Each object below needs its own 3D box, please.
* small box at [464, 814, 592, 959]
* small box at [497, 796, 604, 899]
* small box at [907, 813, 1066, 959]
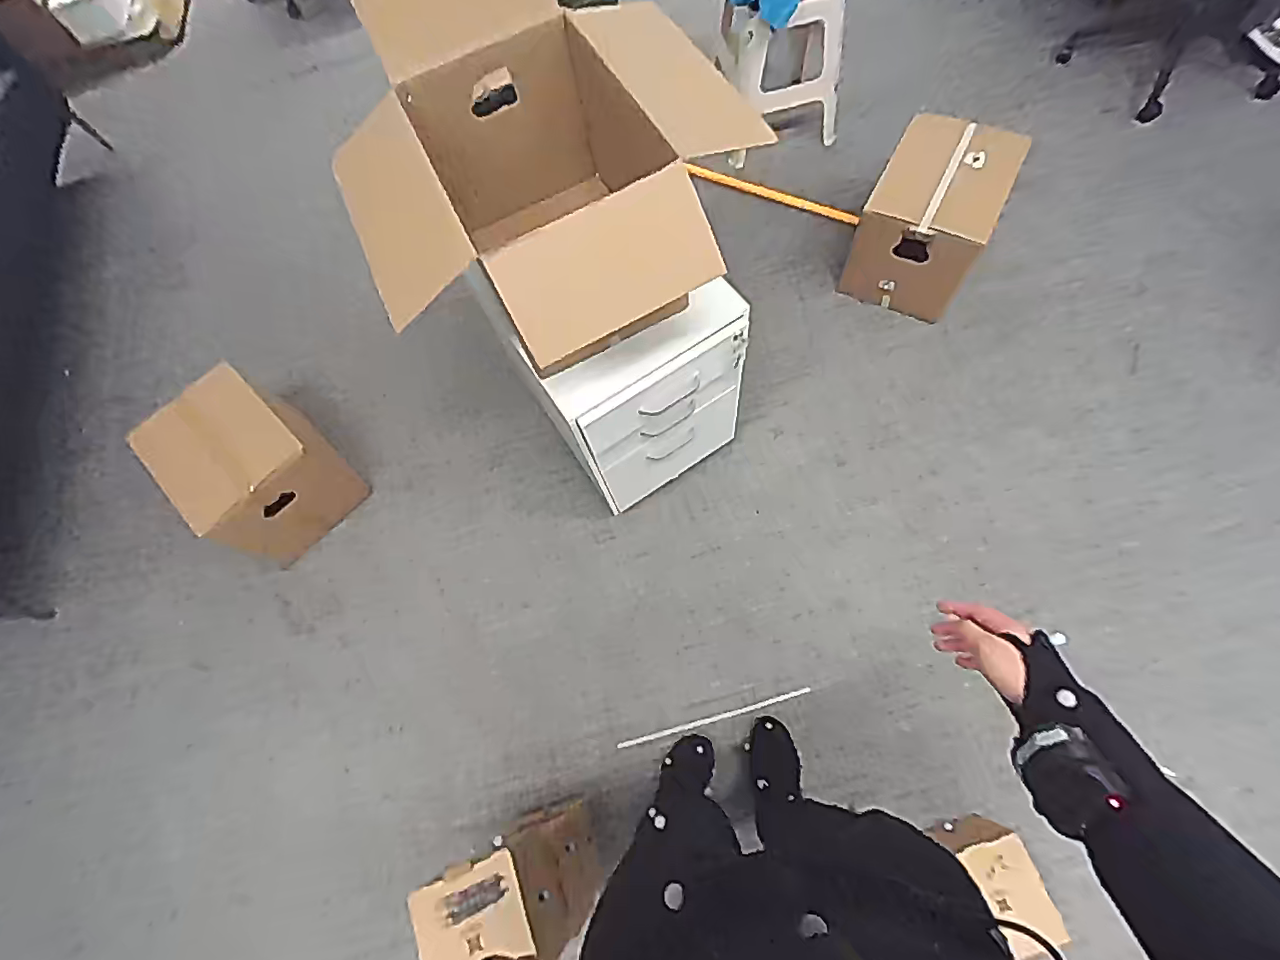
[{"bbox_3d":[-0.200,0.755,1.012,0.179,0.176,0.168,-22,66,0],"label":"small box"},{"bbox_3d":[-0.184,0.805,1.167,0.179,0.176,0.168,-18,67,0],"label":"small box"},{"bbox_3d":[0.661,0.788,1.058,0.168,0.176,0.179,-19,68,-1],"label":"small box"}]
